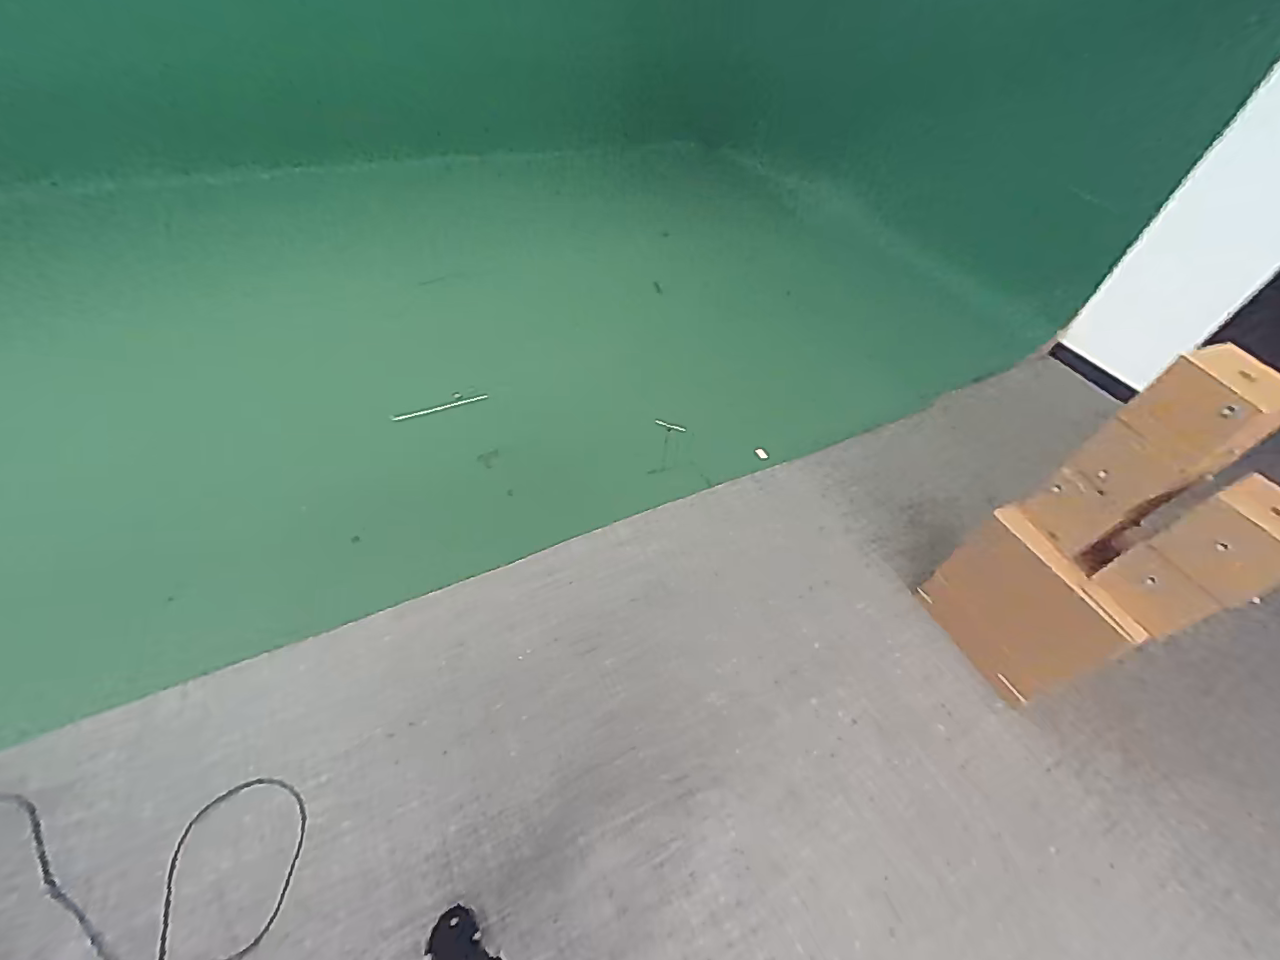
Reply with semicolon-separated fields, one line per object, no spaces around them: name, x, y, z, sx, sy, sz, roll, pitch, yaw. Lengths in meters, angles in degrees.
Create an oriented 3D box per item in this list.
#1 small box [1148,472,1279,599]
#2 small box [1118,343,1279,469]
small box;1.210;0.118;1.090;0.168;0.176;0.179;-18;53;-20
small box;1.144;-0.149;1.094;0.168;0.176;0.179;-13;54;-17
